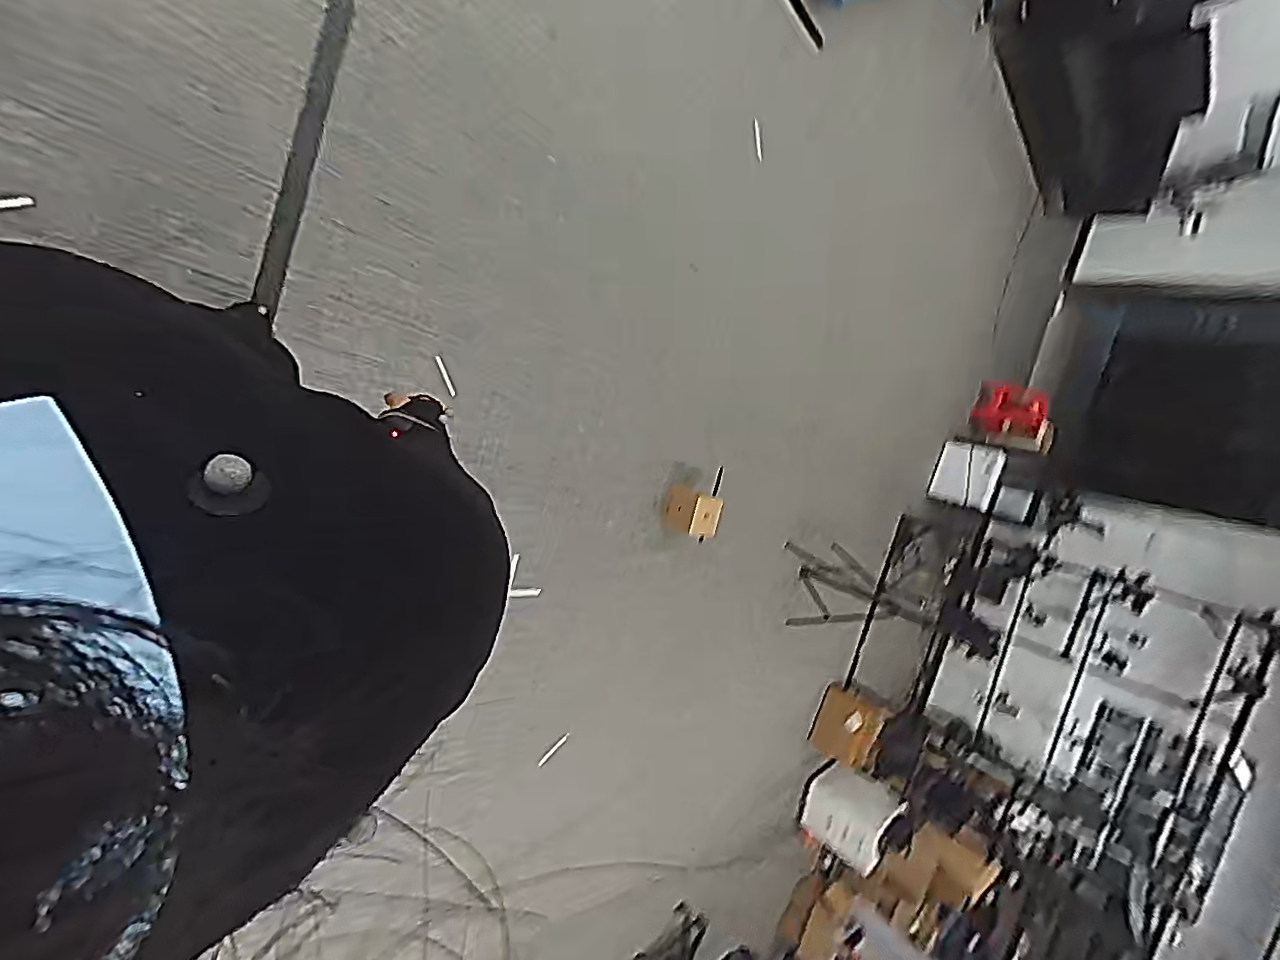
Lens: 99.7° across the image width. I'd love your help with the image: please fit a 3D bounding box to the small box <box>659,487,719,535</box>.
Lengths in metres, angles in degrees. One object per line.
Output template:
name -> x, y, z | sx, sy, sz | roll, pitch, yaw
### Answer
small box -> 0.207, 0.131, 2.316 | 0.179, 0.176, 0.168 | 9, 98, -46
